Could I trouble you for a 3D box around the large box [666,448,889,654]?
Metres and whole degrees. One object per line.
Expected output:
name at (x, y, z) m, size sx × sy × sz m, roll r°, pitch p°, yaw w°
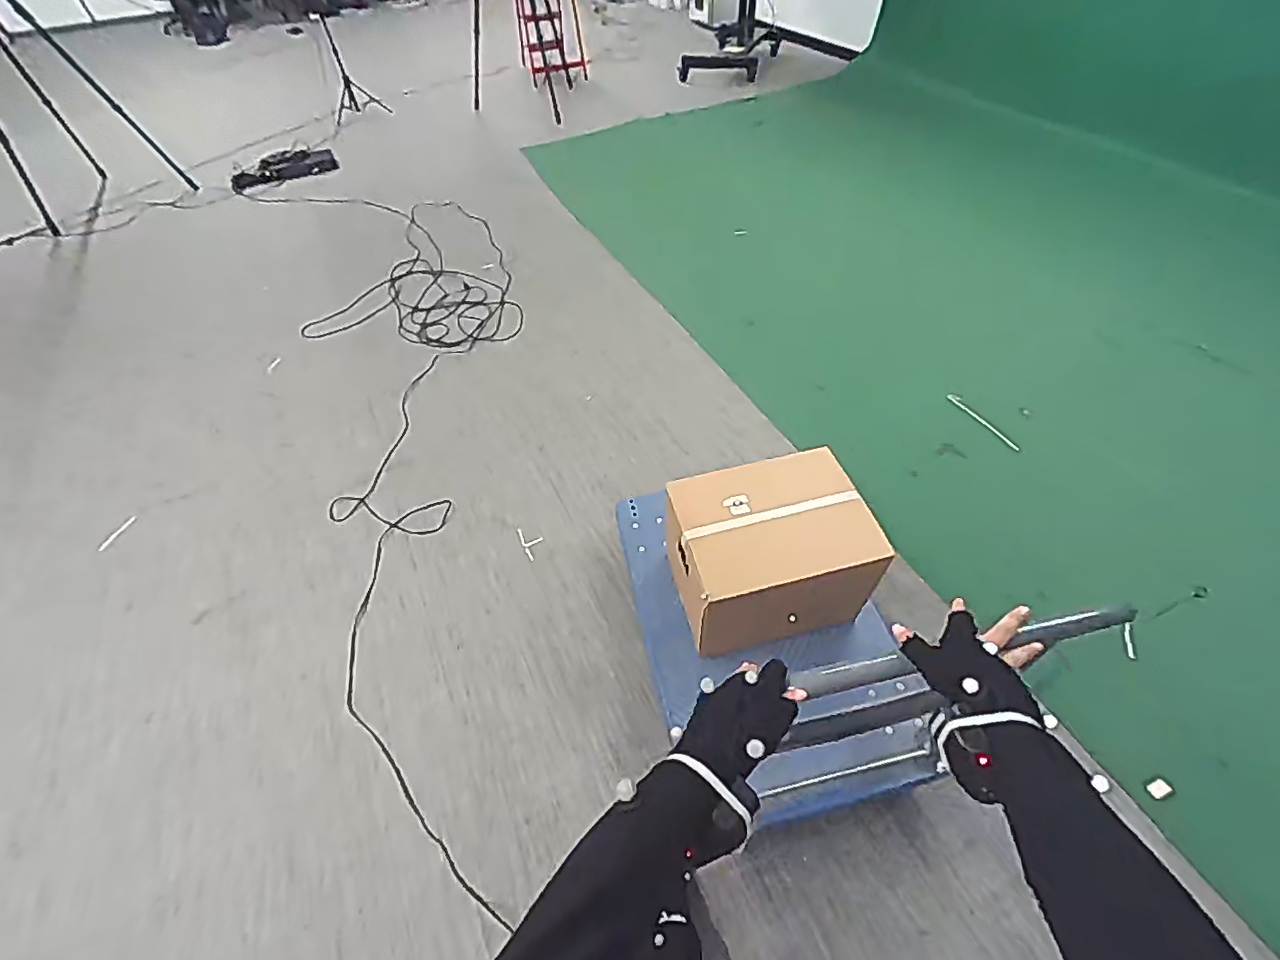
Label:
large box at (0.298, 0.175, 1.298) m, size 0.408 × 0.320 × 0.320 m, roll -14°, pitch 52°, yaw -6°
